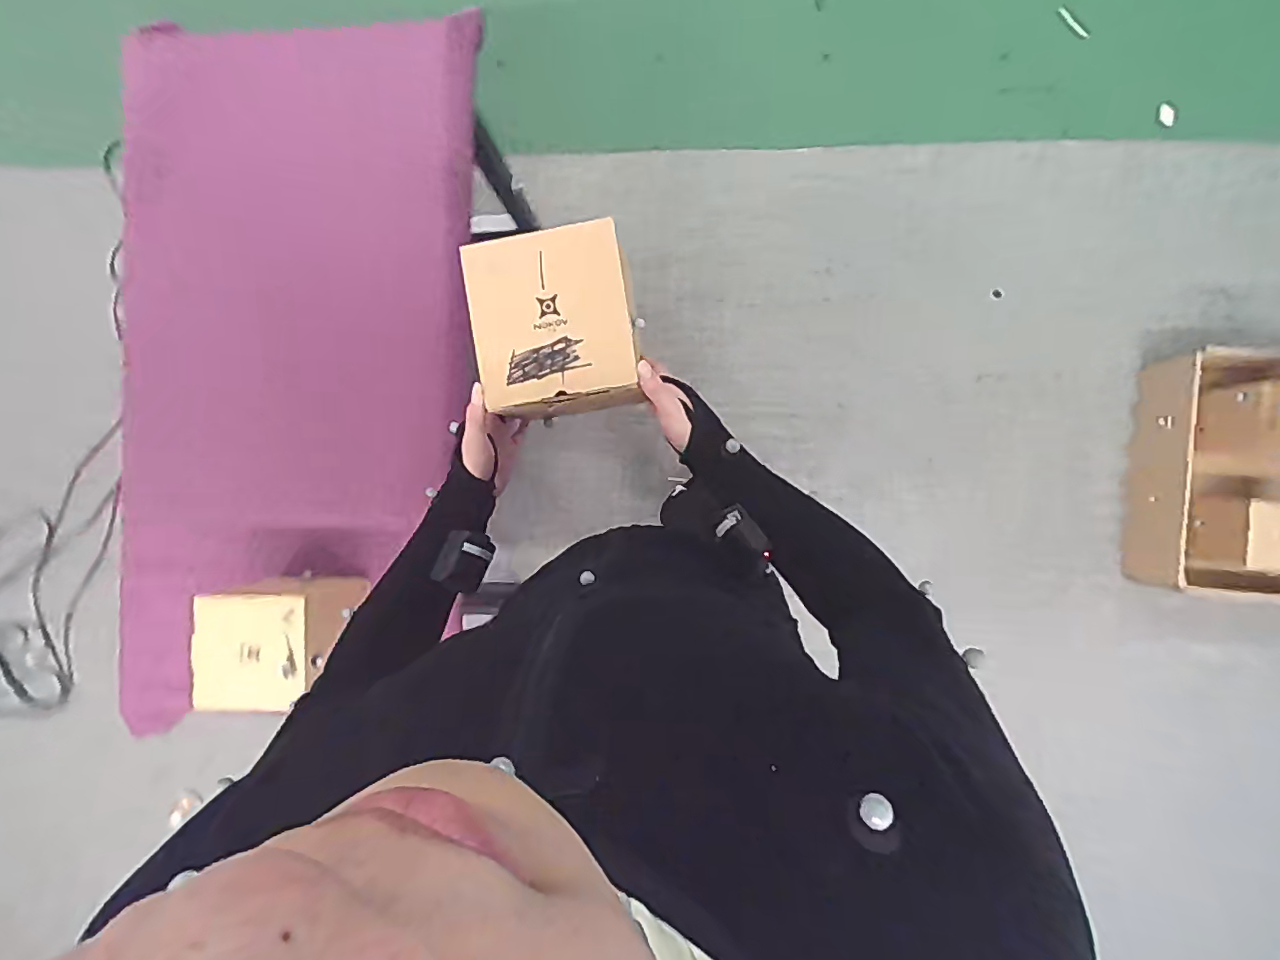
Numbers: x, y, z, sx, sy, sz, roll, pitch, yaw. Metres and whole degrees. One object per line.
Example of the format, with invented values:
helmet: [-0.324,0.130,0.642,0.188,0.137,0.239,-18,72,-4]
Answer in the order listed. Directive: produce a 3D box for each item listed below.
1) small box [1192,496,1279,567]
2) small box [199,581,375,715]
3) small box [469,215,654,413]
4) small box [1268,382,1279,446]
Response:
small box: [1.571,0.129,1.365,0.179,0.176,0.168,5,89,5]
small box: [-0.556,0.259,0.868,0.179,0.176,0.168,-1,89,5]
small box: [-0.078,-0.175,0.633,0.168,0.176,0.179,-8,91,5]
small box: [1.589,-0.155,1.204,0.179,0.176,0.168,5,91,4]
